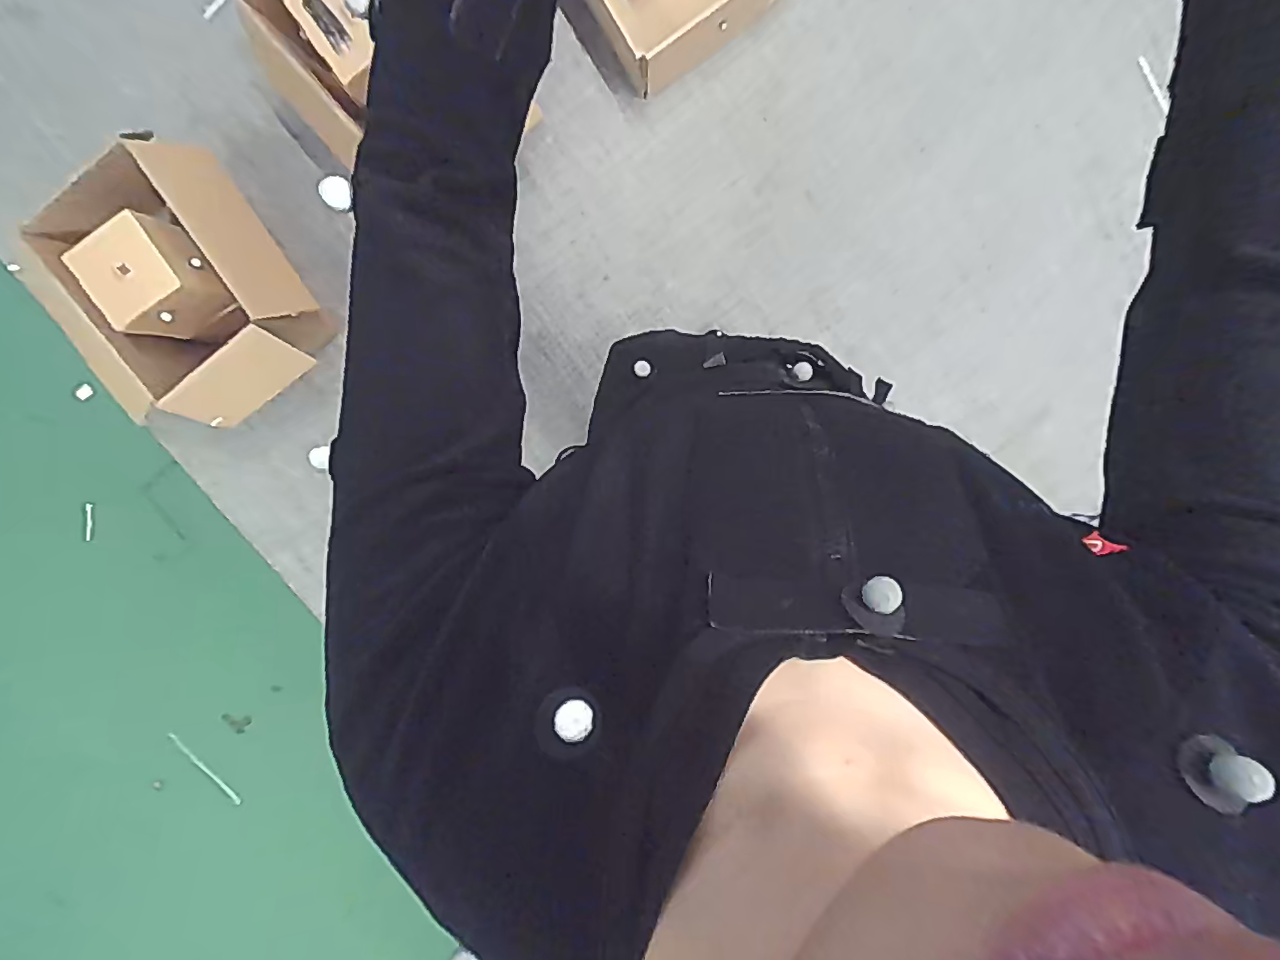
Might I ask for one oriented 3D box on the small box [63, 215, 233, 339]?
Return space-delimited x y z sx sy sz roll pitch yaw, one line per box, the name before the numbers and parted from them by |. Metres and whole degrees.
small box | -1.009 -0.414 1.134 0.179 0.176 0.168 -31 98 6
